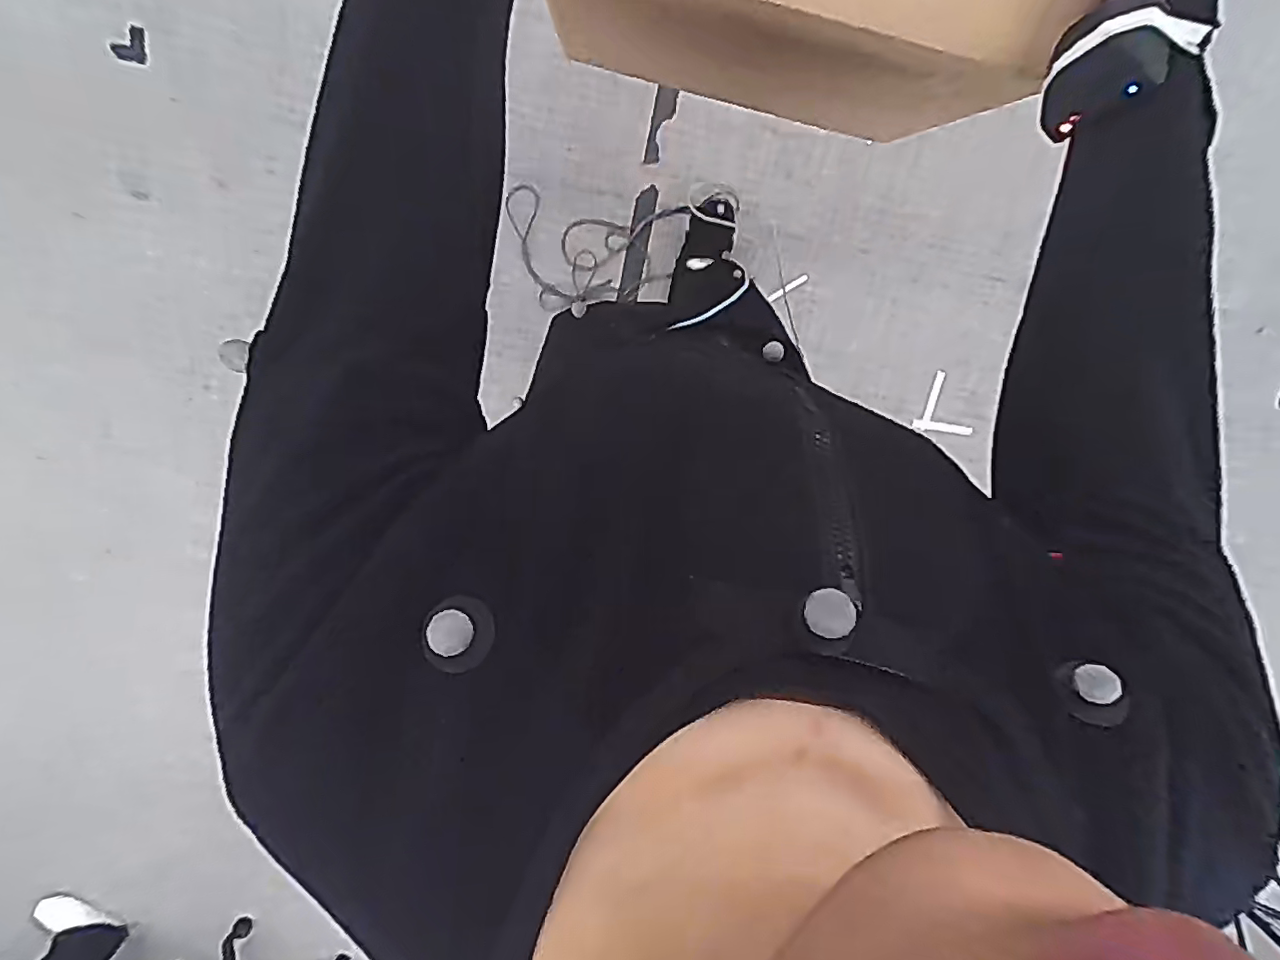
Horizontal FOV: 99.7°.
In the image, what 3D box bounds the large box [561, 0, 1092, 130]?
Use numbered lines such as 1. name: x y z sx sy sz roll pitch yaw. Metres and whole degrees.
1. large box: 0.147 -0.539 0.456 0.408 0.320 0.320 10 115 -7
